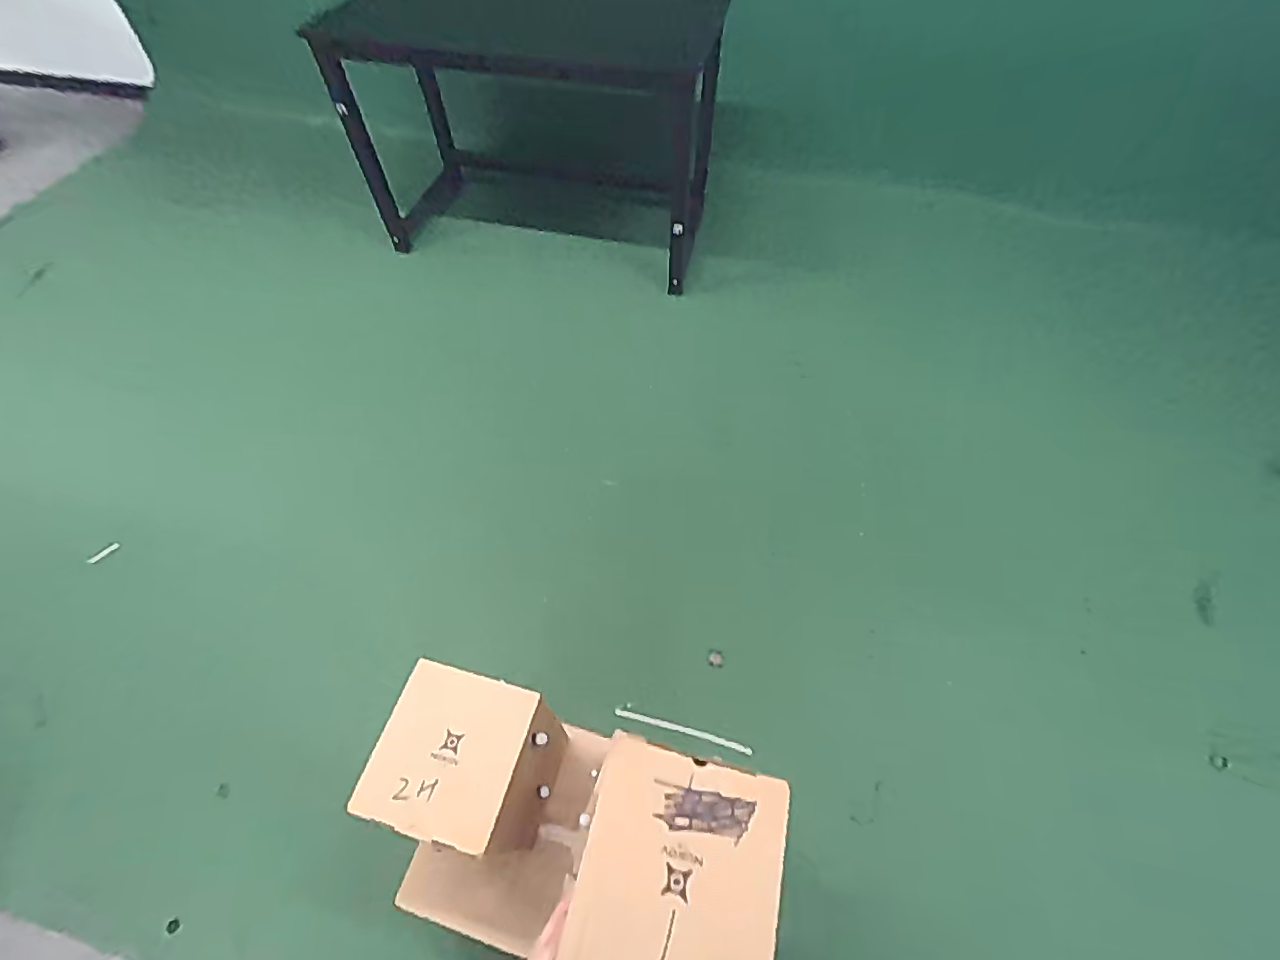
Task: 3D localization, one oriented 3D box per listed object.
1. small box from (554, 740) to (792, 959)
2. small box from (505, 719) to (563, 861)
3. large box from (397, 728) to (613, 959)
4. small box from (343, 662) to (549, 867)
[{"bbox_3d":[0.031,0.365,0.497,0.168,0.176,0.179,12,57,8],"label":"small box"},{"bbox_3d":[-0.224,0.450,0.820,0.168,0.176,0.179,14,56,9],"label":"small box"},{"bbox_3d":[-0.135,0.651,0.975,0.408,0.320,0.320,14,57,9],"label":"large box"},{"bbox_3d":[-0.223,0.359,0.682,0.168,0.176,0.179,13,56,9],"label":"small box"}]
